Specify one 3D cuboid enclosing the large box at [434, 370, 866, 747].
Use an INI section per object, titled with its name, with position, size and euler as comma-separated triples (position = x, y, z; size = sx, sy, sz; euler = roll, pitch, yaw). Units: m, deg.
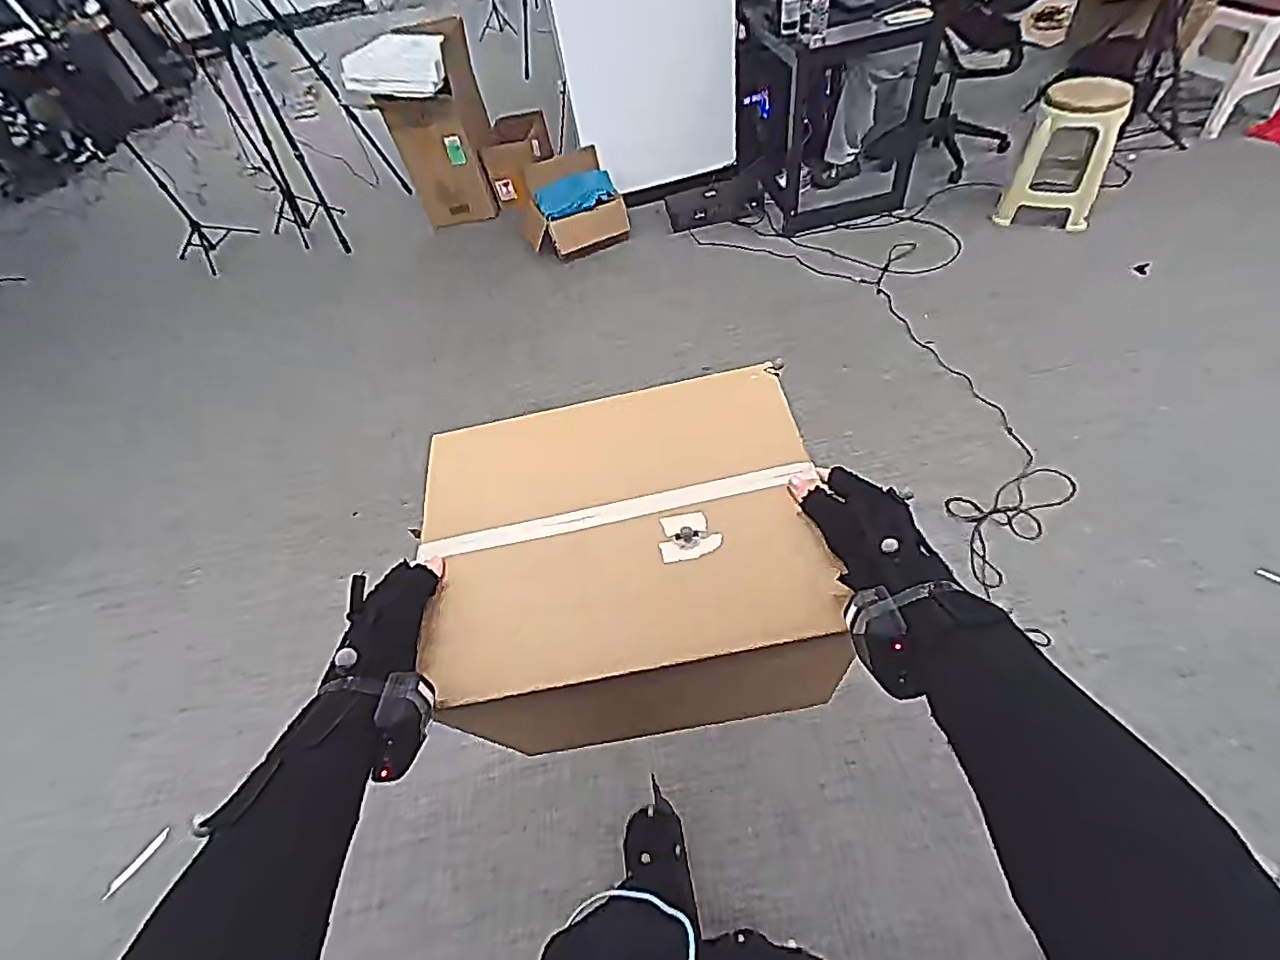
[large box]
position = 0.004, 0.115, 0.684
size = 0.408, 0.320, 0.320
euler = -12, 56, 2
